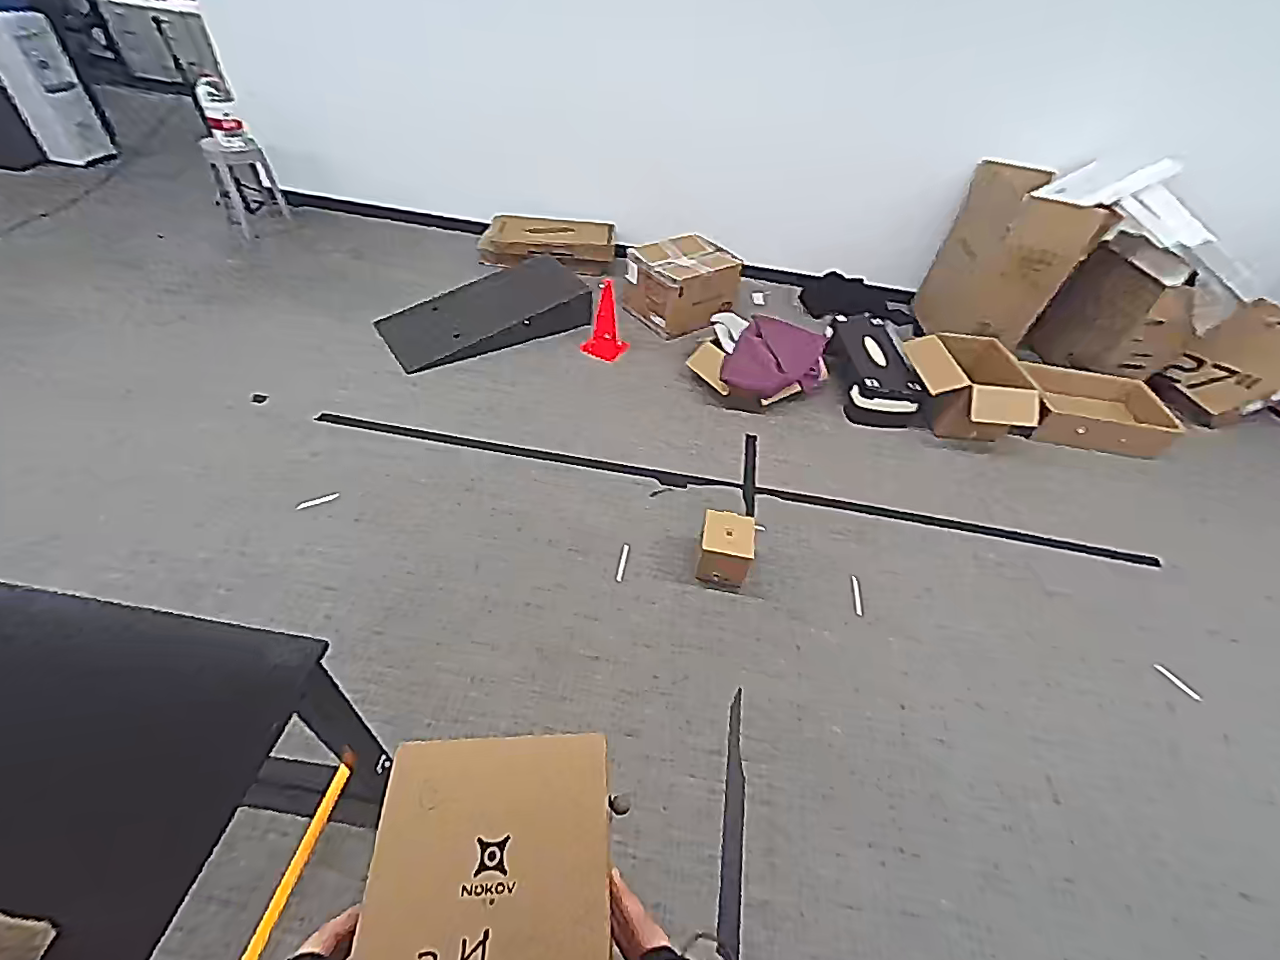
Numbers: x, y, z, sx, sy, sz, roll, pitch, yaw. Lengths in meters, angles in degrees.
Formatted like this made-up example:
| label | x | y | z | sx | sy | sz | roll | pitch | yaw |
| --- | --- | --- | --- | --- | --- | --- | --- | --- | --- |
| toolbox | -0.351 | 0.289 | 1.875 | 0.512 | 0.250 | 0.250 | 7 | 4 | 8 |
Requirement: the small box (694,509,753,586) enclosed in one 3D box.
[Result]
| label | x | y | z | sx | sy | sz | roll | pitch | yaw |
| --- | --- | --- | --- | --- | --- | --- | --- | --- | --- |
| small box | 0.280 | 0.227 | 1.812 | 0.168 | 0.176 | 0.179 | 9 | 47 | 3 |

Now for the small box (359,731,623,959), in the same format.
| label | x | y | z | sx | sy | sz | roll | pitch | yaw |
| --- | --- | --- | --- | --- | --- | --- | --- | --- | --- |
| small box | -0.098 | 0.319 | 0.432 | 0.168 | 0.176 | 0.179 | -2 | 50 | -2 |
